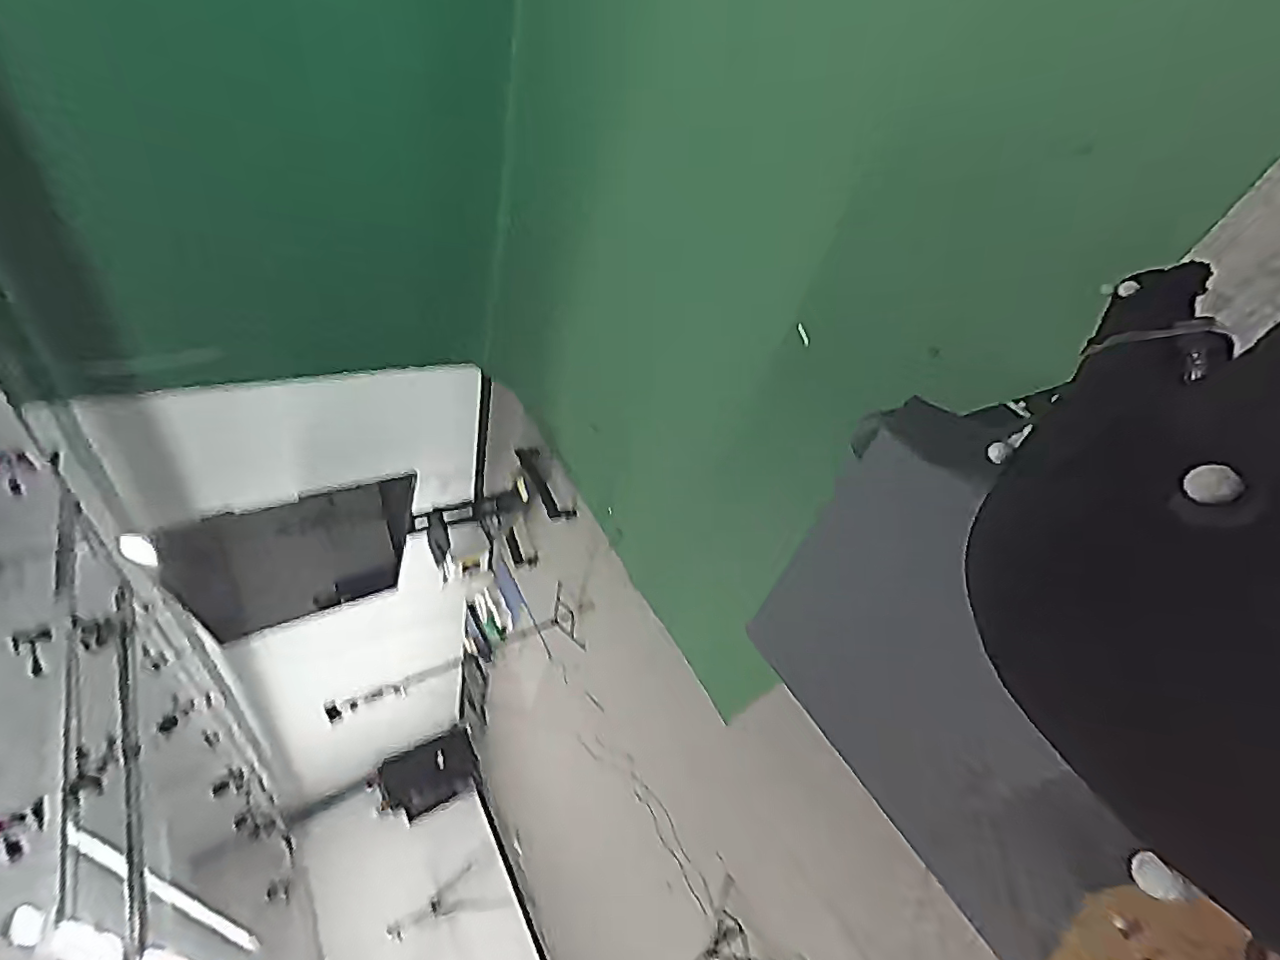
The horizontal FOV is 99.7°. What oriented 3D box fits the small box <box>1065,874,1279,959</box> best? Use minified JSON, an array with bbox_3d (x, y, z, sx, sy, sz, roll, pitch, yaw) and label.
[{"bbox_3d":[0.619,0.584,0.602,0.168,0.176,0.179,52,140,32],"label":"small box"}]
